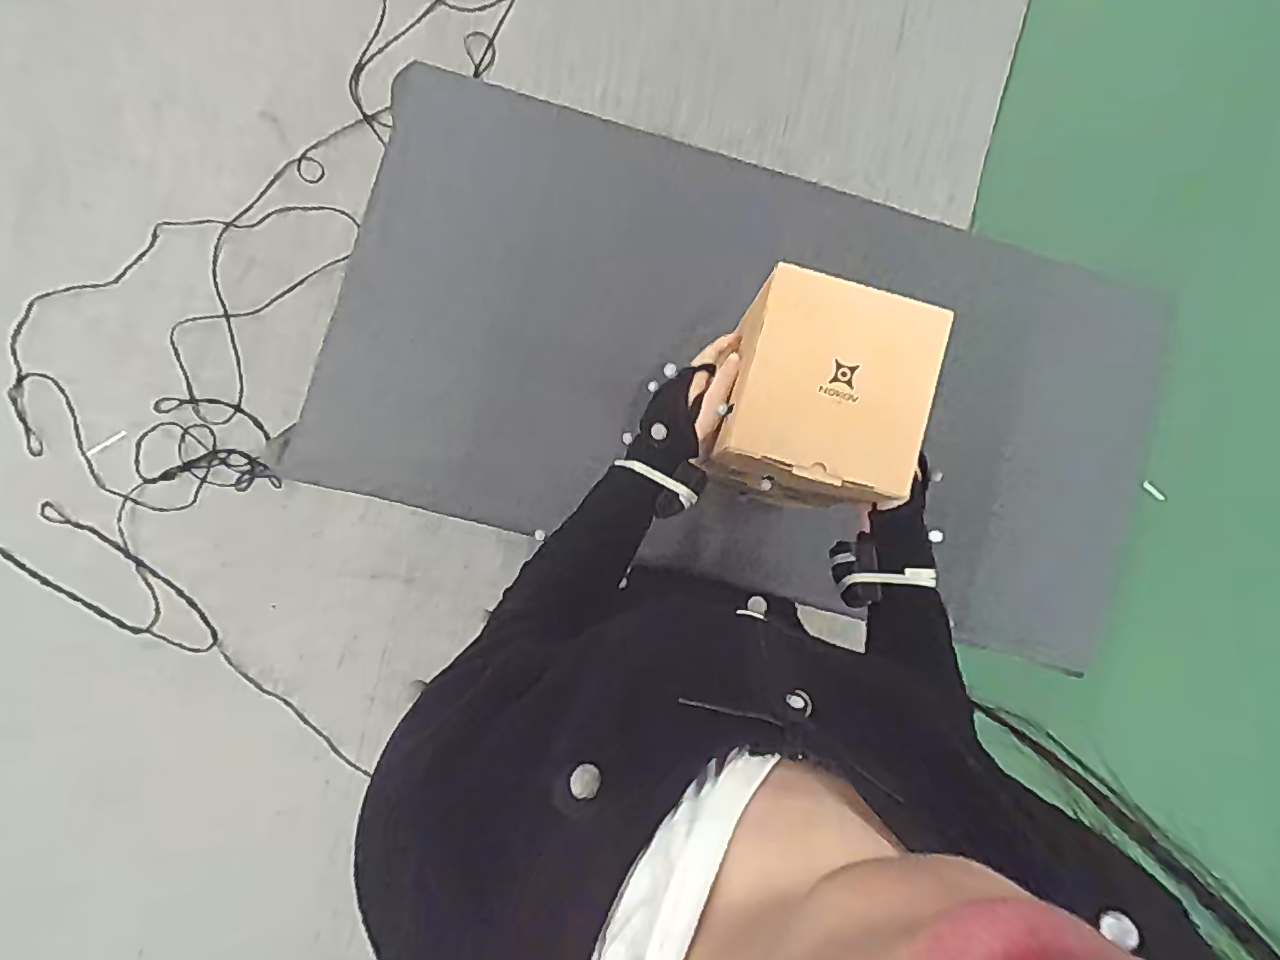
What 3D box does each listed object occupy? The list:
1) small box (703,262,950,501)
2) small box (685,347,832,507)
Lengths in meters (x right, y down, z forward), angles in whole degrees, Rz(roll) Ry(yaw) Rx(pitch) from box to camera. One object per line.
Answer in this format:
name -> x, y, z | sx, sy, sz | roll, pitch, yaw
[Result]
small box -> 0.172, -0.083, 0.551 | 0.168, 0.176, 0.179 | 16, 87, -2
small box -> 0.163, -0.069, 0.712 | 0.168, 0.176, 0.179 | 16, 87, -1
